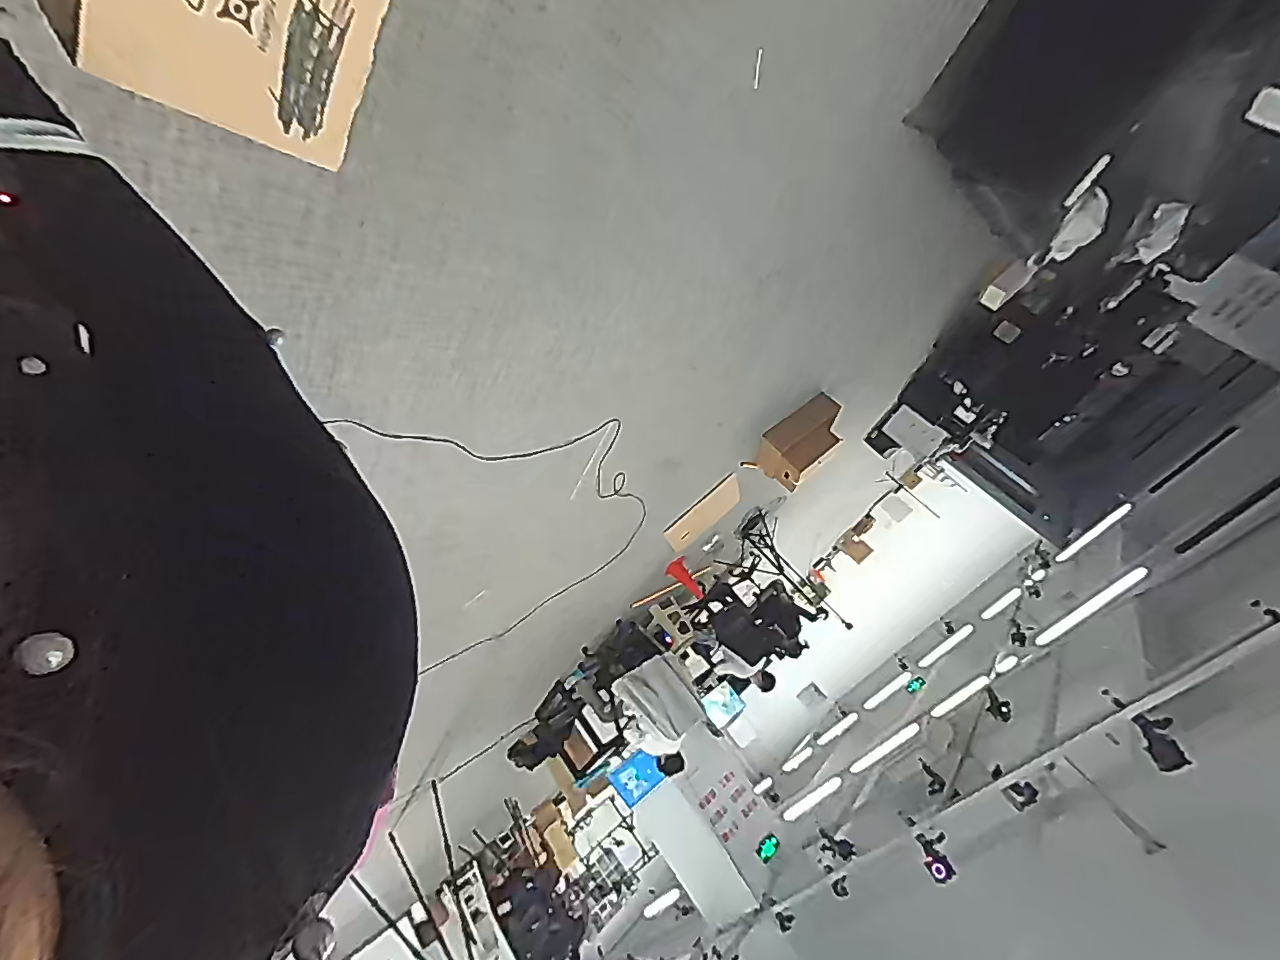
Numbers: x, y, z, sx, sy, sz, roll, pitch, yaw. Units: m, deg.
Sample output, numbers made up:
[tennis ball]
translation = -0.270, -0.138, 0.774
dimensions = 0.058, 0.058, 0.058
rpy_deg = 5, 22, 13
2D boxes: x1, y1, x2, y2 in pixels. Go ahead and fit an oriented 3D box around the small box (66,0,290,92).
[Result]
[small box]
translation = -0.437, -0.510, 0.489
dimensions = 0.168, 0.176, 0.179
rpy_deg = -6, 135, -53
